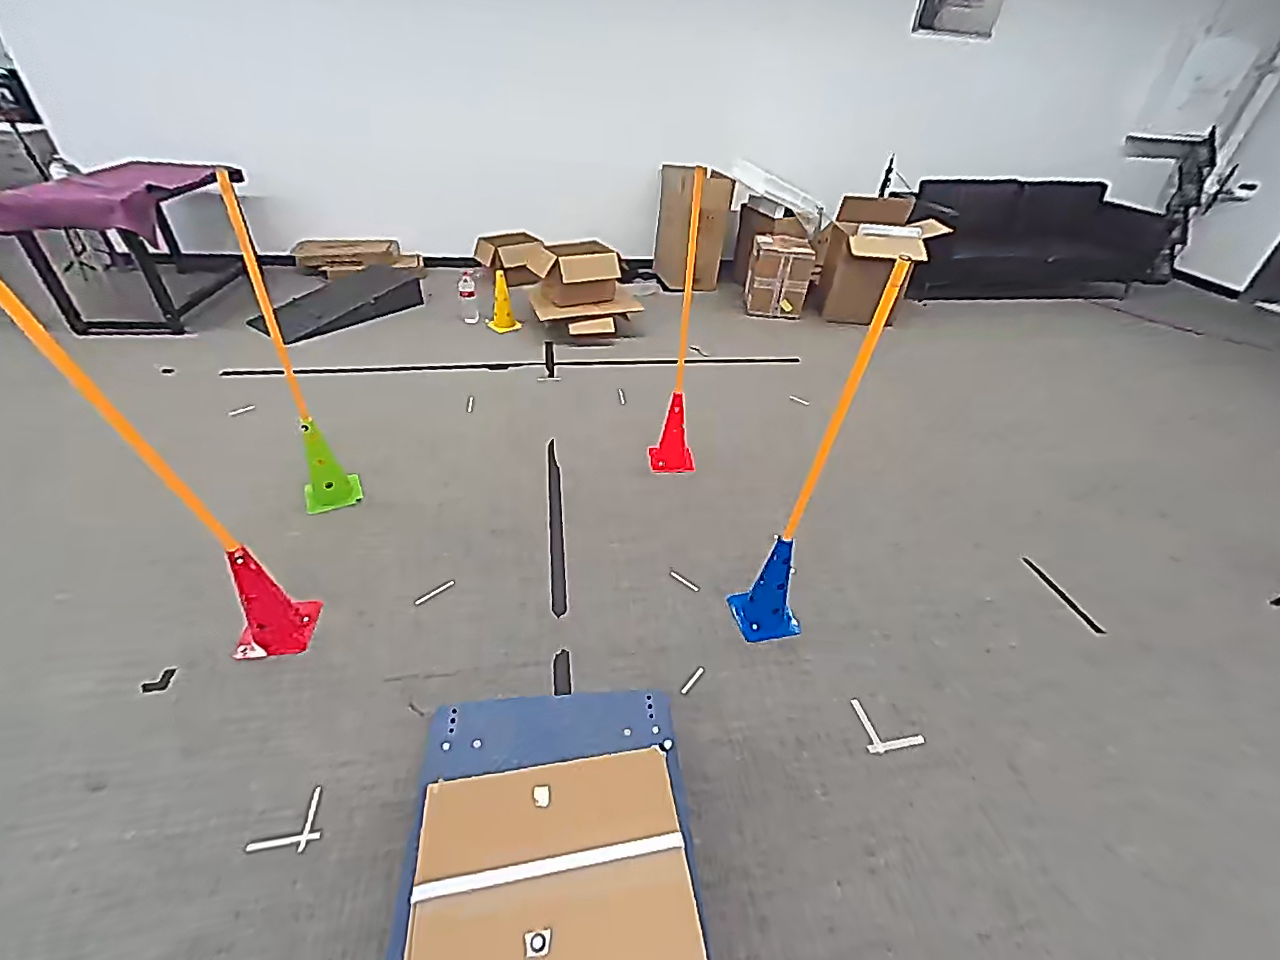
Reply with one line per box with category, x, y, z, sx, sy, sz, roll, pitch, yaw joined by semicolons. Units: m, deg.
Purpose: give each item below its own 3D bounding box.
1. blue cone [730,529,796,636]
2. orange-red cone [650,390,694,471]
blue cone;0.430;0.315;1.743;0.193;0.380;0.192;-5;37;-13
orange-red cone;0.160;-0.239;2.414;0.199;0.360;0.198;2;38;-5
